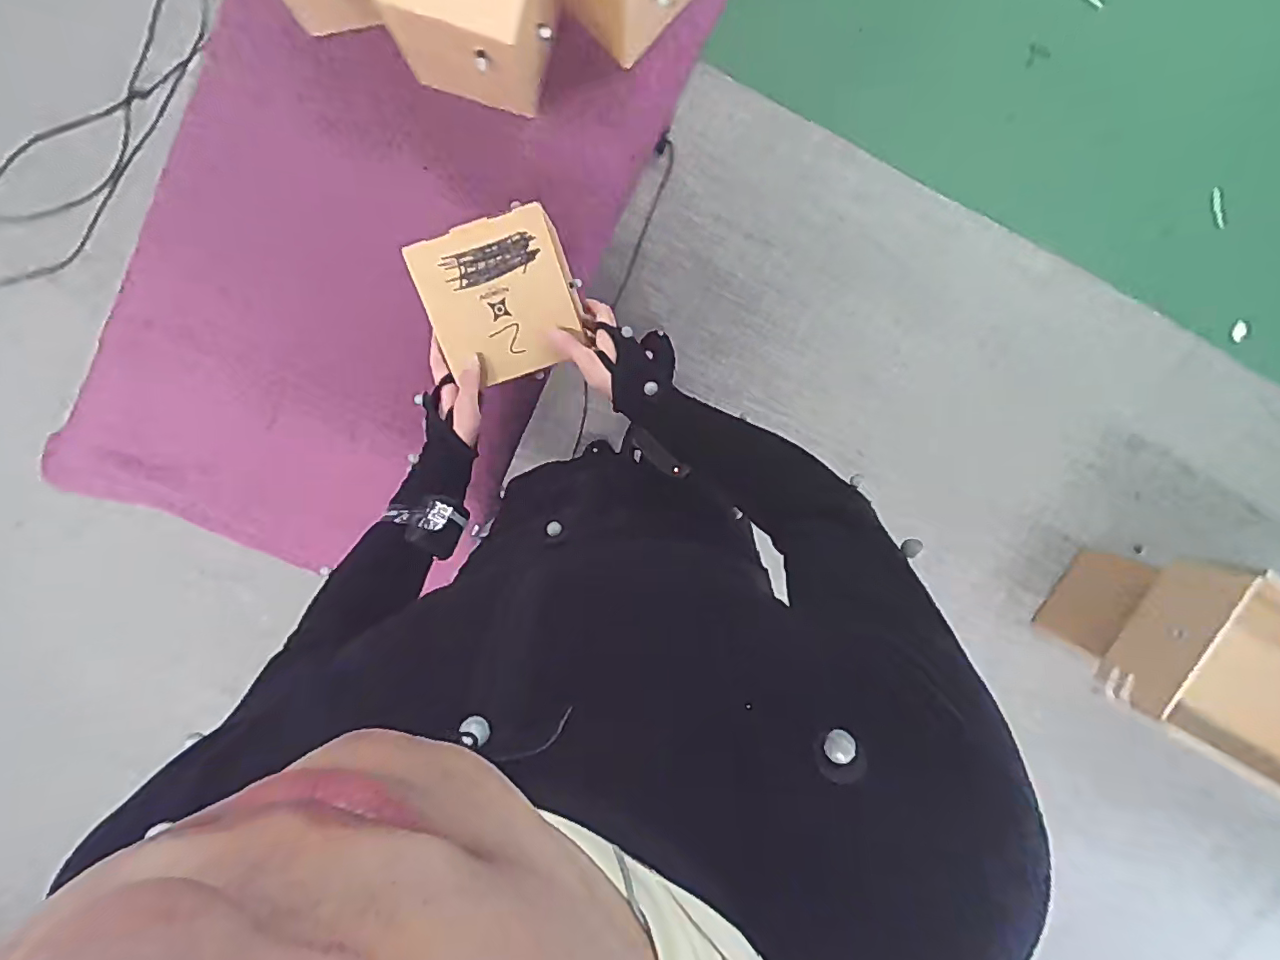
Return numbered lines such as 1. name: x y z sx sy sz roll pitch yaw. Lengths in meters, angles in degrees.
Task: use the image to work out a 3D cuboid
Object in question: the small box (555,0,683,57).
1. small box: -0.031 -0.720 0.717 0.179 0.176 0.168 43 94 -5
